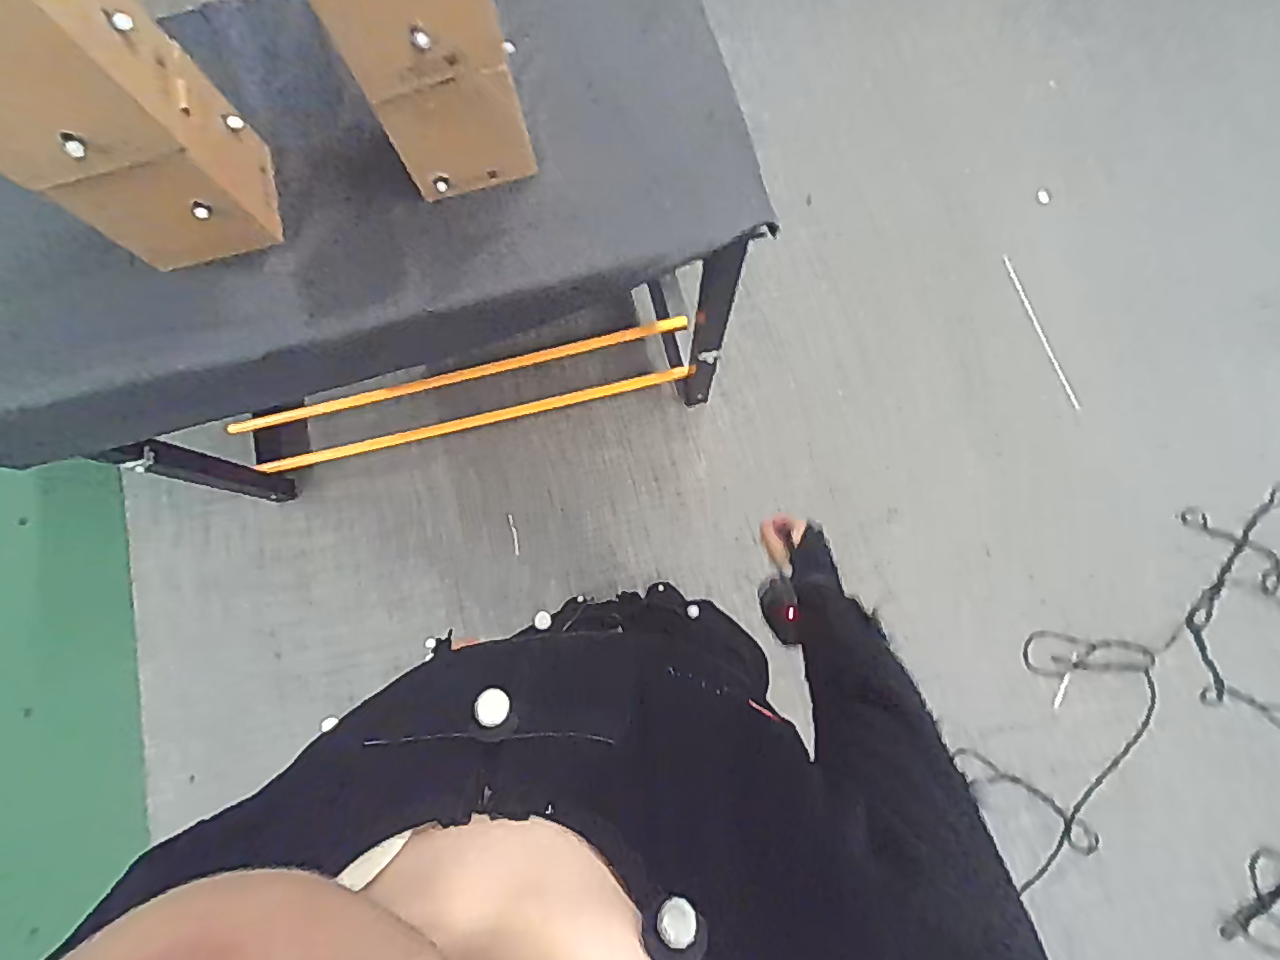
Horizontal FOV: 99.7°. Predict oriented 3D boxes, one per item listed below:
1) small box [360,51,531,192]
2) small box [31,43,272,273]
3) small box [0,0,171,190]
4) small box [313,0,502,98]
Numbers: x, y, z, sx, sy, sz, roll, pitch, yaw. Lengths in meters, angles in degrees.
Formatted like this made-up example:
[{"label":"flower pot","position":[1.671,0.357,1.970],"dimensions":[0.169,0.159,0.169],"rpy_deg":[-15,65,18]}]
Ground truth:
[{"label":"small box","position":[-0.254,-0.513,0.711],"dimensions":[0.168,0.176,0.179],"rpy_deg":[-16,77,-2]},{"label":"small box","position":[-0.610,-0.399,0.695],"dimensions":[0.179,0.176,0.168],"rpy_deg":[-16,77,-2]},{"label":"small box","position":[-0.612,-0.429,0.533],"dimensions":[0.179,0.176,0.168],"rpy_deg":[-18,77,-3]},{"label":"small box","position":[-0.261,-0.545,0.549],"dimensions":[0.168,0.176,0.179],"rpy_deg":[-21,78,-3]}]
